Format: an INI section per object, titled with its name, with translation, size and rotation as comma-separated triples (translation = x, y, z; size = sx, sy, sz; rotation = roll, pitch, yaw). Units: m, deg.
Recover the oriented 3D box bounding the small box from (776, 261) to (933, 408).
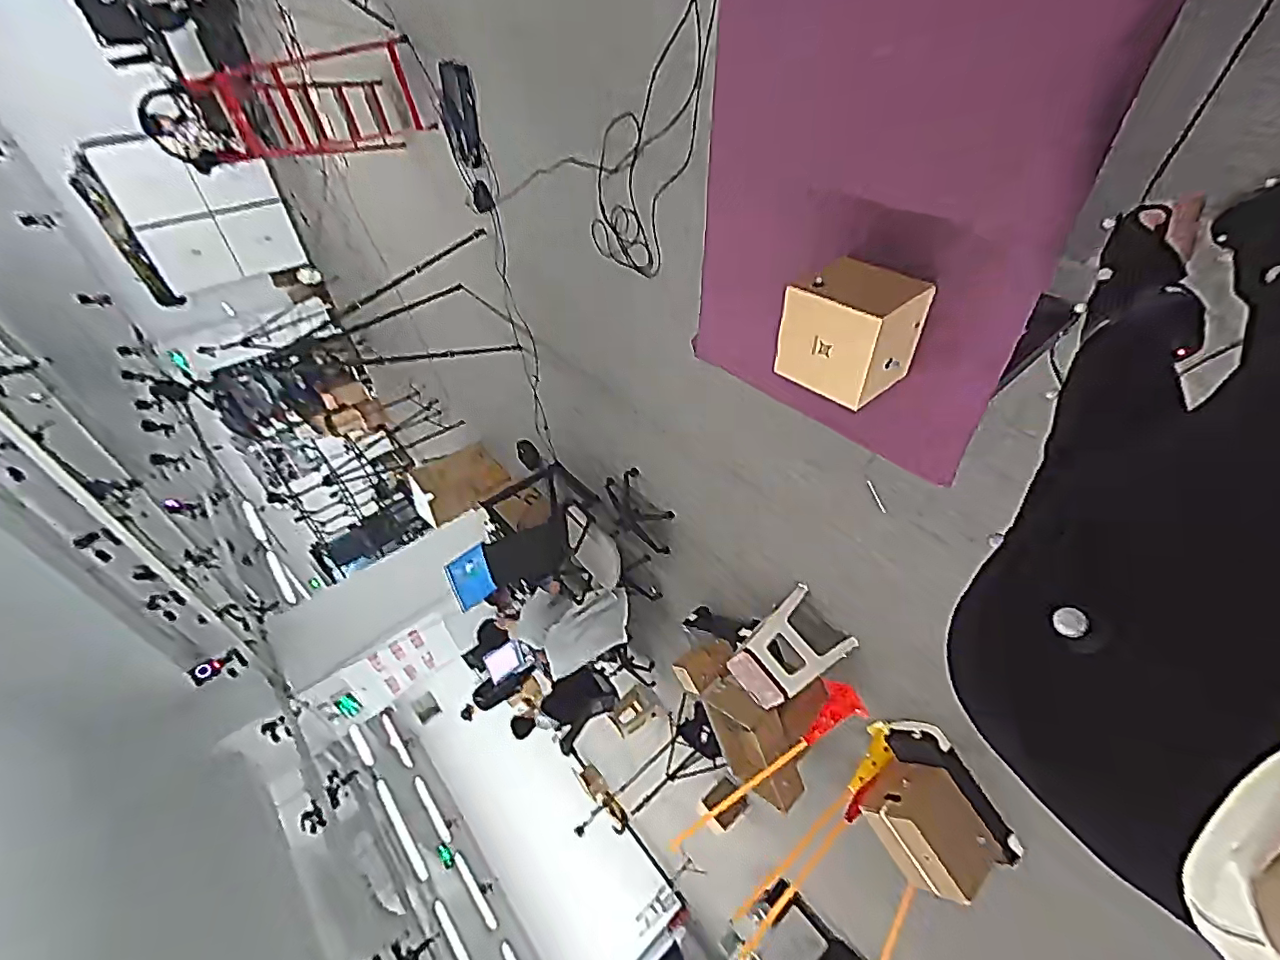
[small box]
translation = 0.363, -0.256, 0.927
size = 0.179, 0.176, 0.168
rotation = 38, 146, 35
